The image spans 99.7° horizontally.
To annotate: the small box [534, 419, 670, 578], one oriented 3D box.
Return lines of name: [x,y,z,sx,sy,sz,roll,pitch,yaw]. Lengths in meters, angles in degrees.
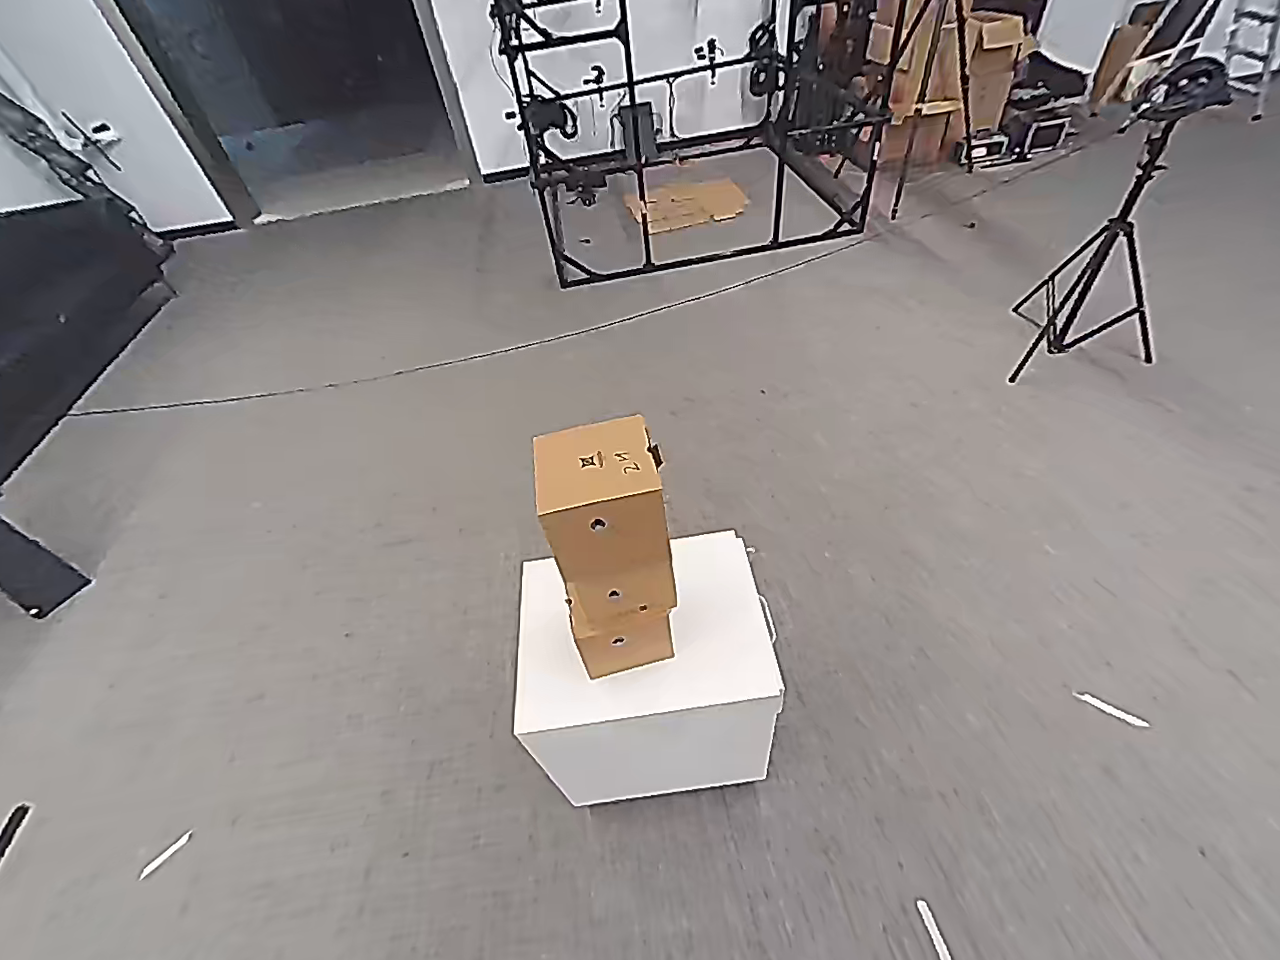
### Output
small box: [-0.057,0.033,0.840,0.179,0.176,0.168,-11,46,-2]

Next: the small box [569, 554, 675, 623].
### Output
small box: [-0.038,0.137,0.968,0.168,0.176,0.179,-13,45,-4]

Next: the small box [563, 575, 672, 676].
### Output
small box: [-0.042,0.265,1.072,0.179,0.176,0.168,-13,46,-5]
